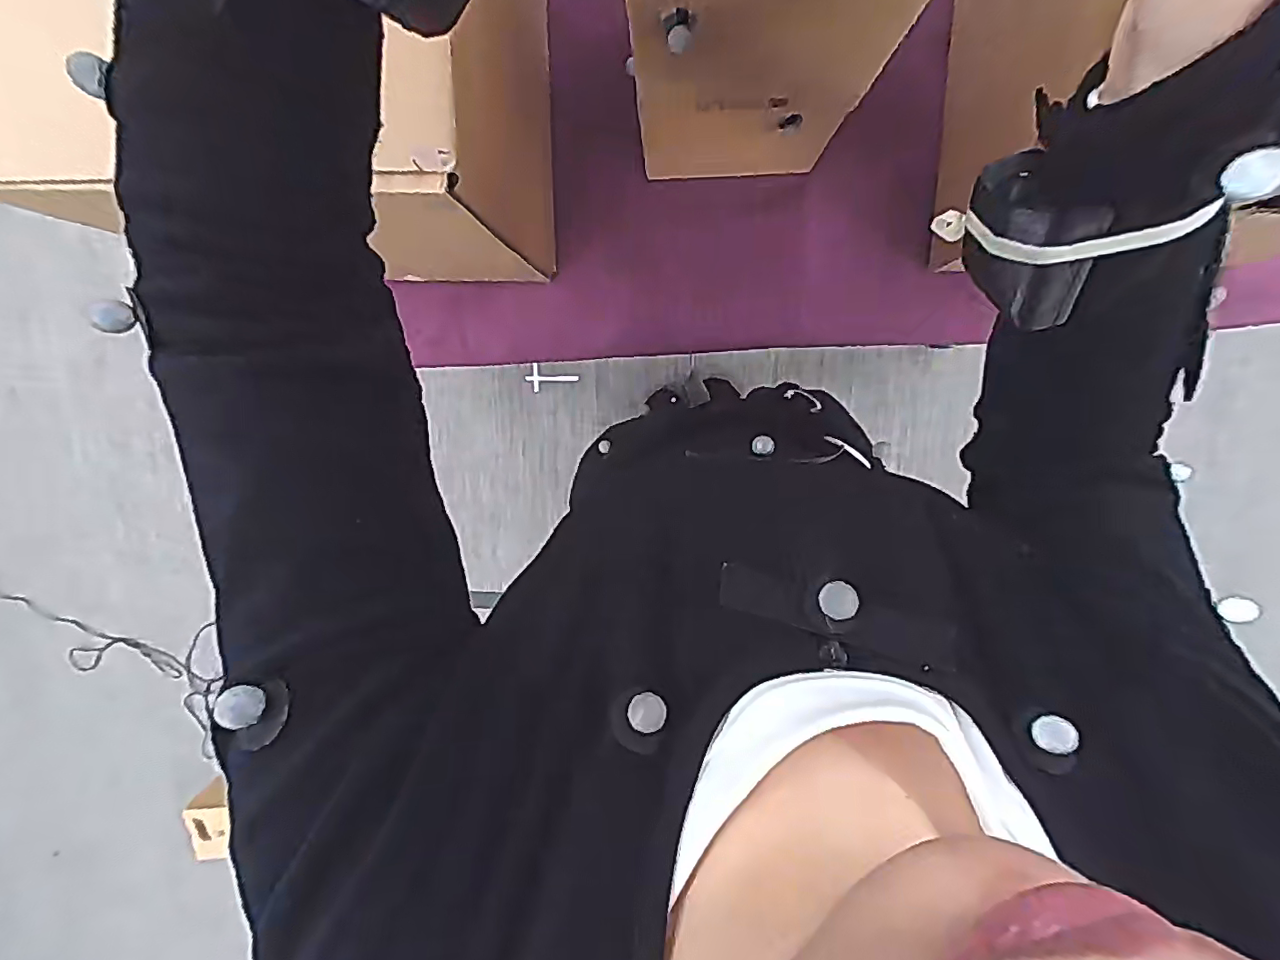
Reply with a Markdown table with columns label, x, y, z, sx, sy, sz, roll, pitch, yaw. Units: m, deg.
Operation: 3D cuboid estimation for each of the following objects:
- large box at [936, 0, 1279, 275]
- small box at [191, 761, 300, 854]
| label | x | y | z | sx | sy | sz | roll | pitch | yaw |
| --- | --- | --- | --- | --- | --- | --- | --- | --- | --- |
| large box | 0.447 | -0.392 | 0.390 | 0.320 | 0.320 | 0.408 | 0 | 99 | 4 |
| small box | -1.141 | 0.947 | 1.574 | 0.179 | 0.176 | 0.168 | -6 | 101 | 5 |
